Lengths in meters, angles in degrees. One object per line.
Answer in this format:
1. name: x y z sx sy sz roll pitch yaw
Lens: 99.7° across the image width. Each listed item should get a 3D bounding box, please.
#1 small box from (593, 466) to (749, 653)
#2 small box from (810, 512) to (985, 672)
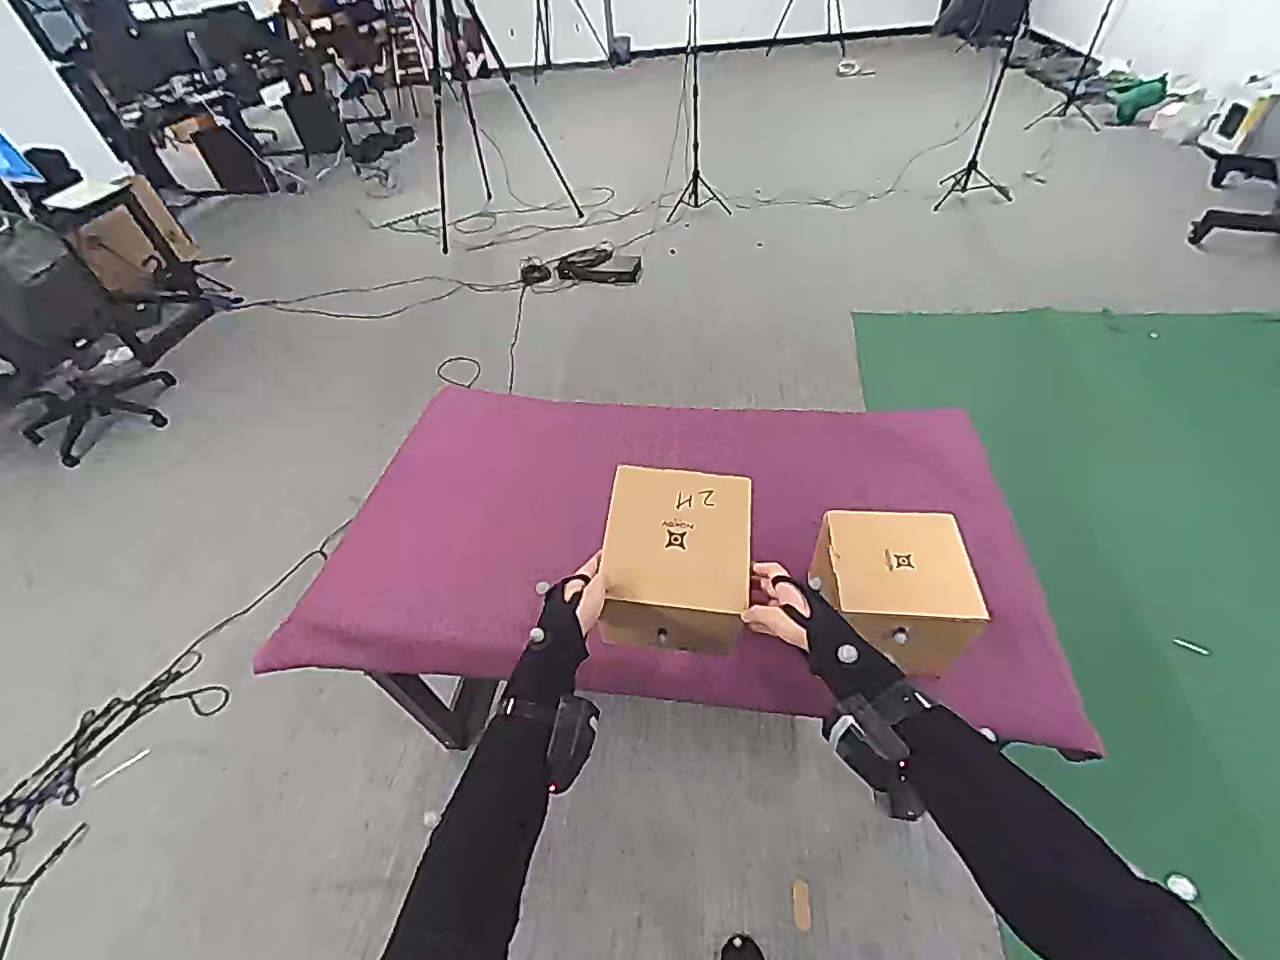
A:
1. small box: 0.042 0.107 0.689 0.168 0.176 0.179 7 57 4
2. small box: 0.351 0.163 0.777 0.179 0.176 0.168 0 48 9
